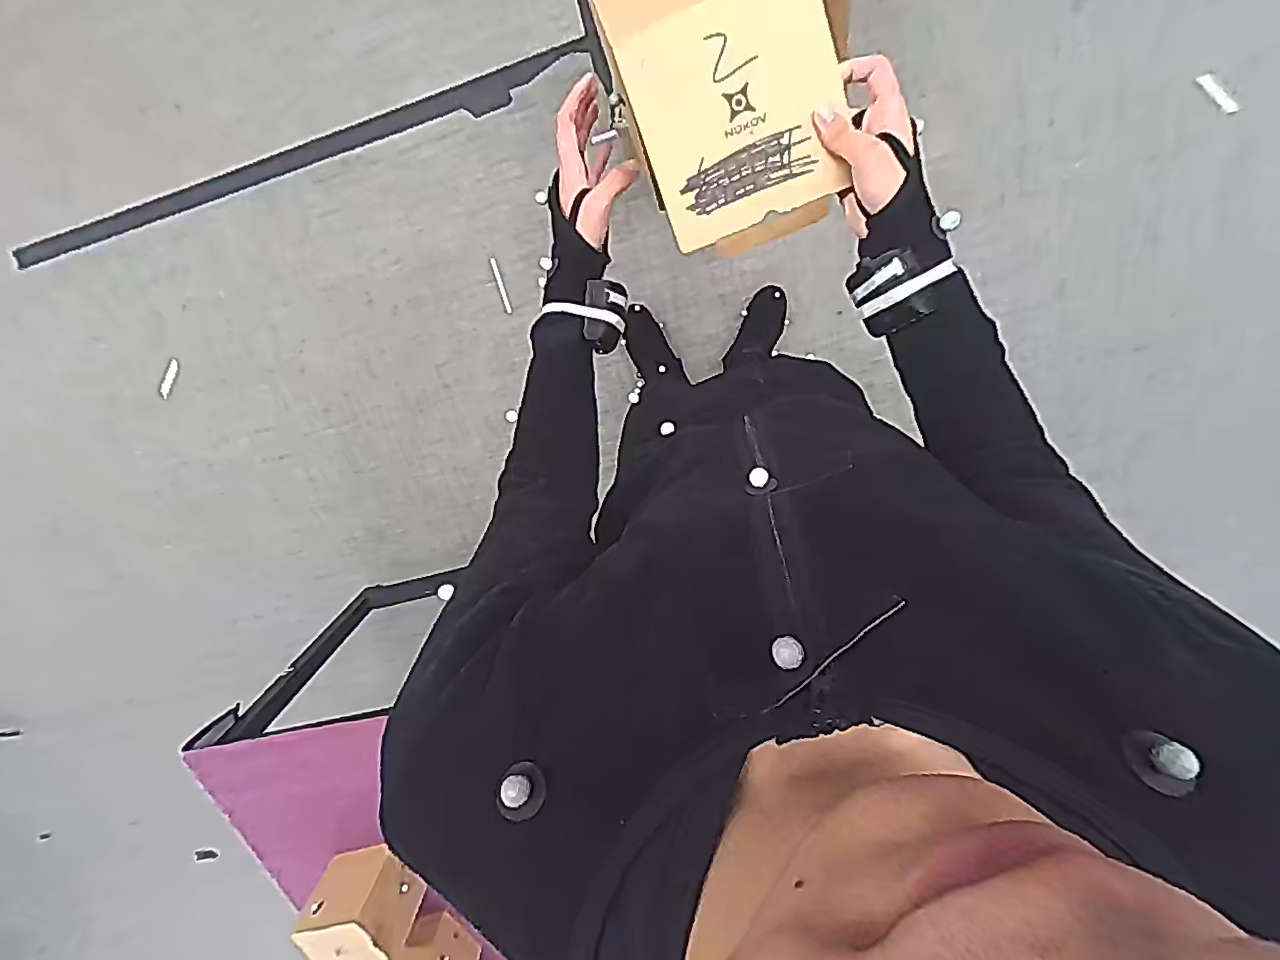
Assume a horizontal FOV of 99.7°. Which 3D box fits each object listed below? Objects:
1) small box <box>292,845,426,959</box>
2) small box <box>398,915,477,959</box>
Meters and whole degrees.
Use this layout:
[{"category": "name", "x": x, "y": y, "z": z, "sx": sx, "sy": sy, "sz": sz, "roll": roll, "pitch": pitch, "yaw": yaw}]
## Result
[{"category": "small box", "x": -0.624, "y": 0.974, "z": 1.225, "sx": 0.179, "sy": 0.176, "sz": 0.168, "roll": -19, "pitch": 109, "yaw": 9}, {"category": "small box", "x": -0.518, "y": 1.203, "z": 1.309, "sx": 0.179, "sy": 0.176, "sz": 0.168, "roll": -27, "pitch": 106, "yaw": 12}]
